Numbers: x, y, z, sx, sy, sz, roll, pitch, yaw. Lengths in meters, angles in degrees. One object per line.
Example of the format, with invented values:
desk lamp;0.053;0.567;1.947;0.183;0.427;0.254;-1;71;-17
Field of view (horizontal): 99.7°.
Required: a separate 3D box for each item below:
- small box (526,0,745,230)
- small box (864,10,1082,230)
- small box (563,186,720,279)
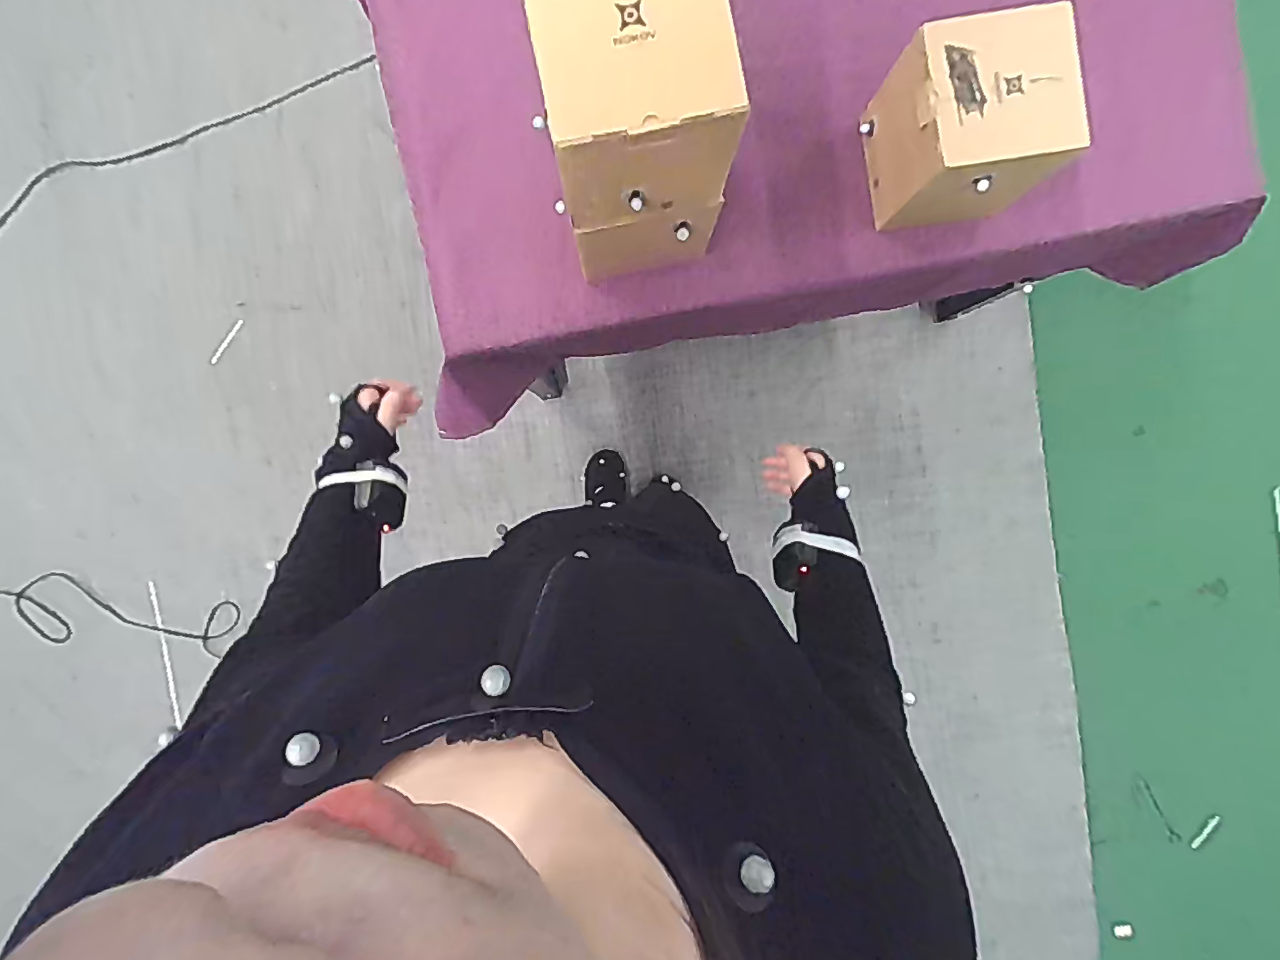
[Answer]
small box;-0.011;-0.375;0.525;0.168;0.176;0.179;-12;93;-1
small box;0.407;-0.443;0.695;0.179;0.176;0.168;-9;92;-1
small box;-0.011;-0.376;0.688;0.179;0.176;0.168;-12;91;-1
